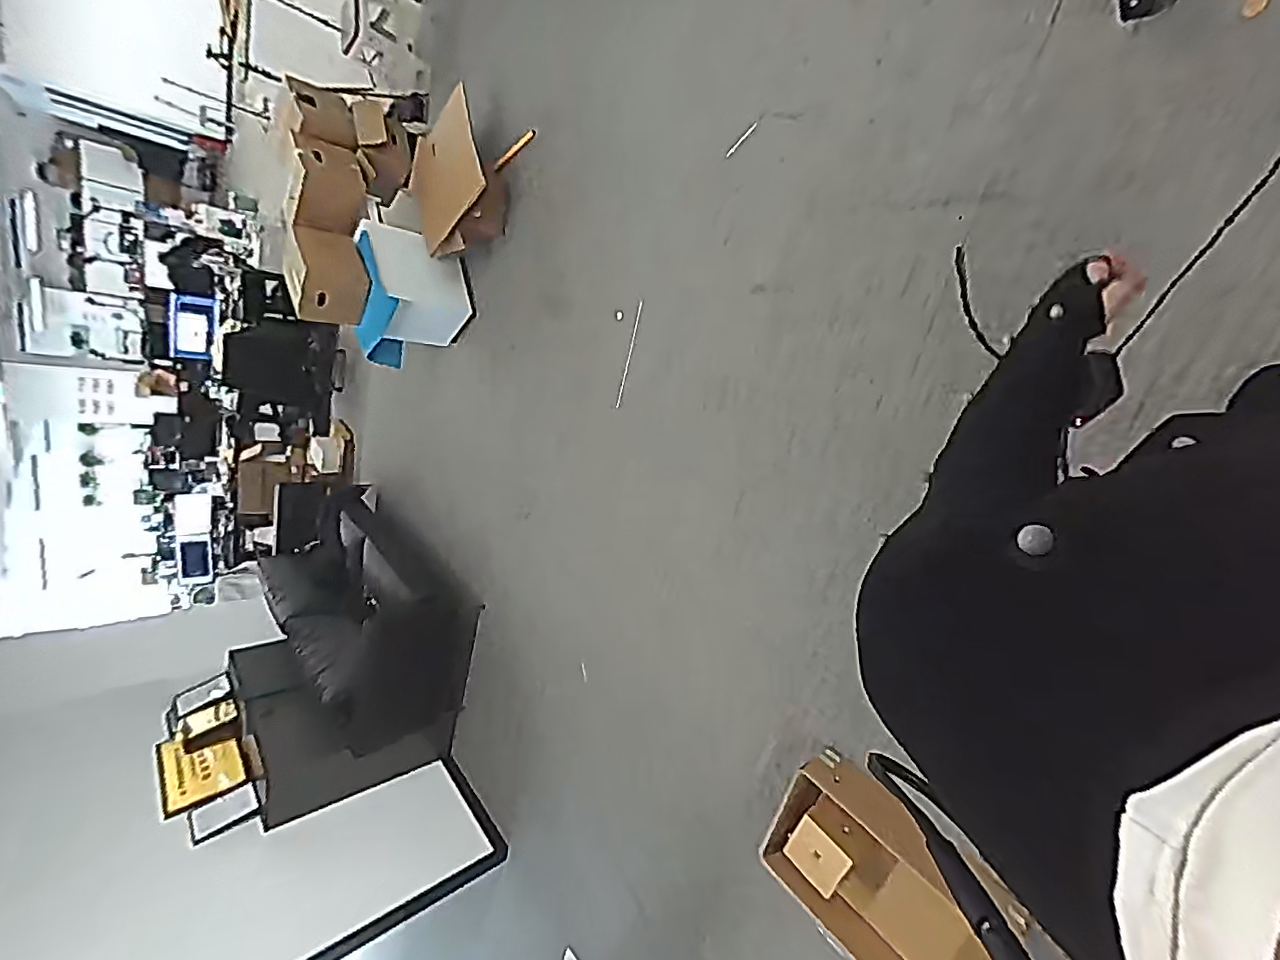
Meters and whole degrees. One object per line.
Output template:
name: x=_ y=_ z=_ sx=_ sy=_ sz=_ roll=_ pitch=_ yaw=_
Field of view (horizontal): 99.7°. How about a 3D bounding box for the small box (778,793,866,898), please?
small box: x=0.562 y=1.107 z=1.652 sx=0.168 sy=0.176 sz=0.179 roll=36 pitch=116 yaw=38
